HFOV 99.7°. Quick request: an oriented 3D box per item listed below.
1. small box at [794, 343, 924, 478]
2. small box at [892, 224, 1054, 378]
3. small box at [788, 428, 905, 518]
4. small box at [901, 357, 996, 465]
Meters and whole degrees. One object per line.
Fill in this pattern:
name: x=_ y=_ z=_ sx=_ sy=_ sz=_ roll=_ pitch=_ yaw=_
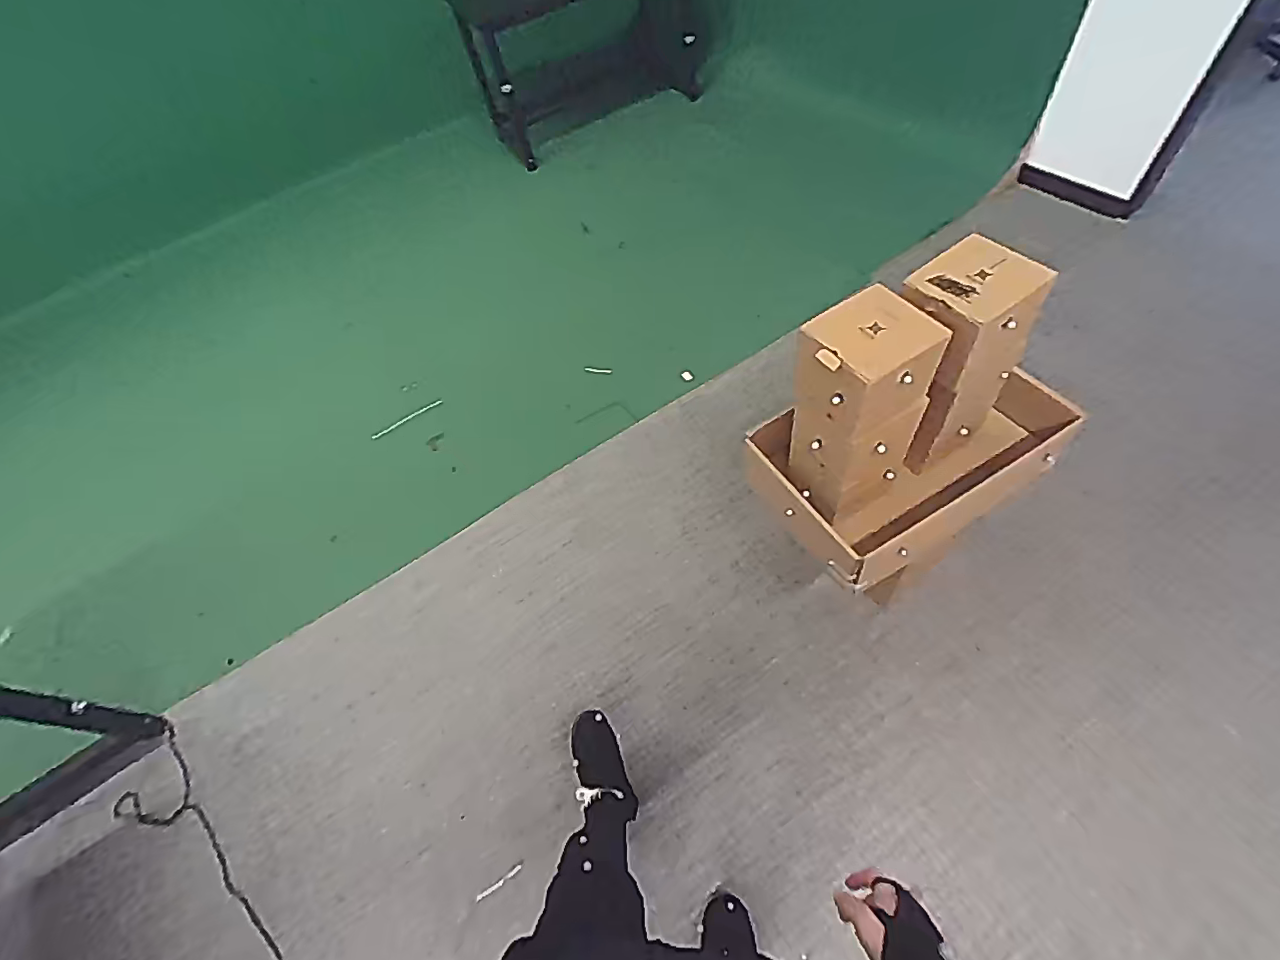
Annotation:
small box: x=0.429 y=-0.135 z=1.090 sx=0.179 sy=0.176 sz=0.168 roll=-30 pitch=58 yaw=-8
small box: x=0.589 y=-0.320 z=0.986 sx=0.179 sy=0.176 sz=0.168 roll=-34 pitch=58 yaw=-8
small box: x=0.455 y=-0.047 z=1.225 sx=0.179 sy=0.176 sz=0.168 roll=-29 pitch=56 yaw=-9
small box: x=0.674 y=-0.169 z=1.266 sx=0.179 sy=0.176 sz=0.168 roll=-33 pitch=58 yaw=-6
